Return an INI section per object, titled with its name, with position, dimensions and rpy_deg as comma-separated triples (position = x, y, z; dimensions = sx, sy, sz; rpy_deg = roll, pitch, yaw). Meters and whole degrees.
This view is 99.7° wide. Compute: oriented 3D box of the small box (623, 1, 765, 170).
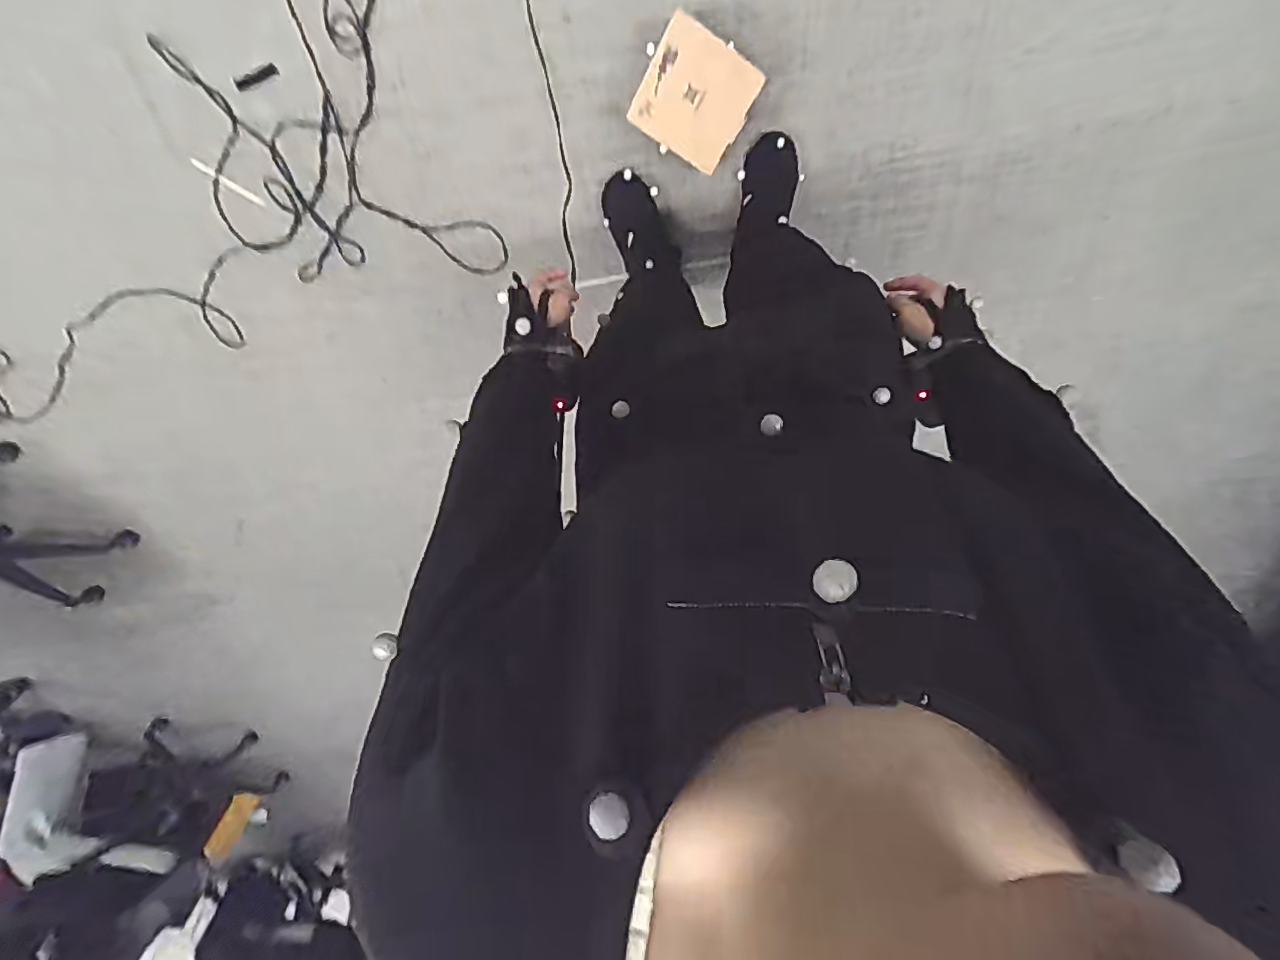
[small box]
position = 0.086, -0.678, 0.939
dimensions = 0.179, 0.176, 0.168
rpy_deg = 25, 122, -18
